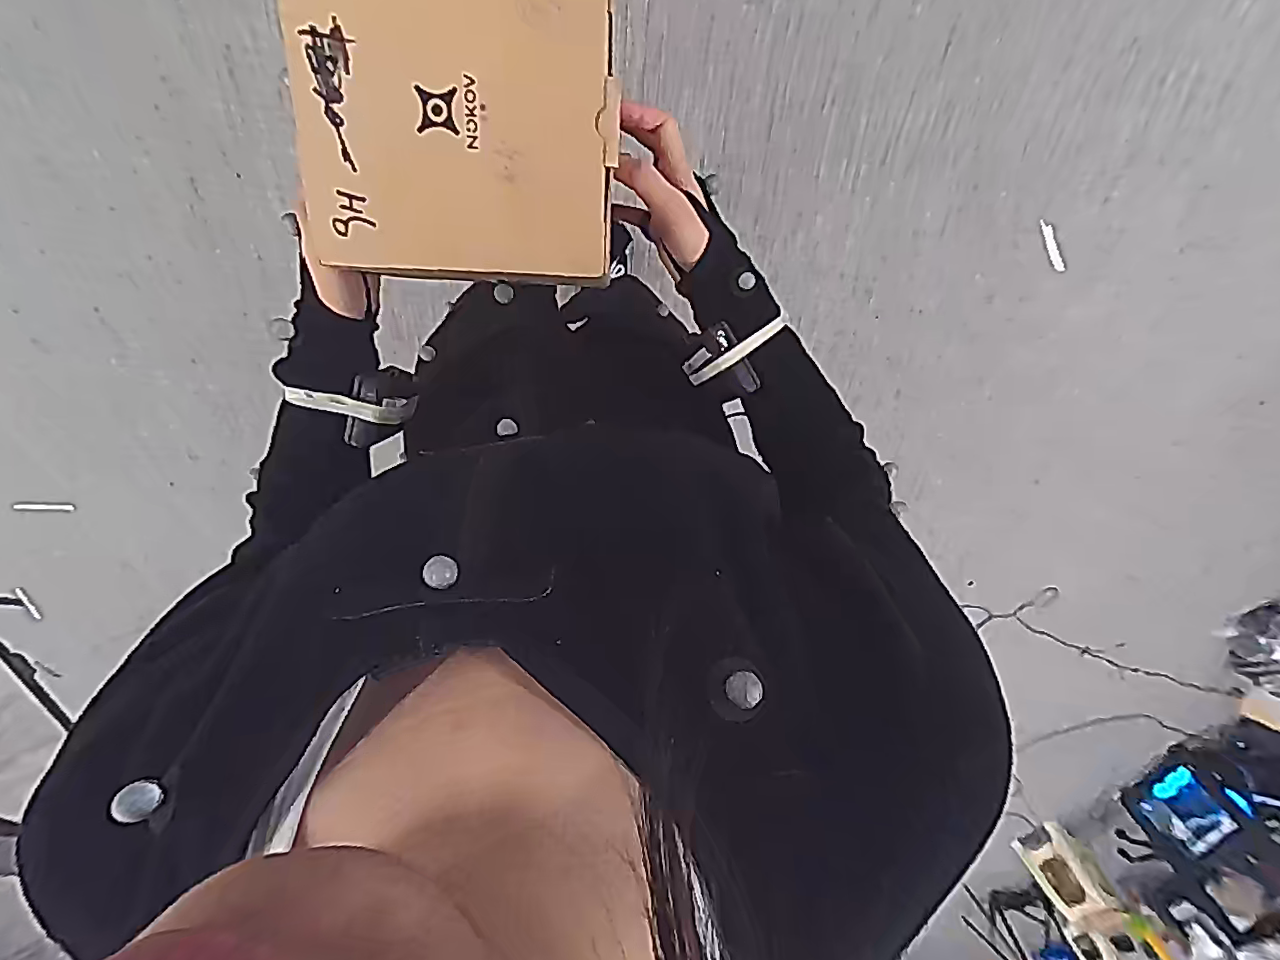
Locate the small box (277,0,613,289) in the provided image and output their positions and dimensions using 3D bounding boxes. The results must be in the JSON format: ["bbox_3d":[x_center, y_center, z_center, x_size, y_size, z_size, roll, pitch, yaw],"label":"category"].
[{"bbox_3d":[-0.111,-0.227,0.379,0.179,0.176,0.168,1,107,-4],"label":"small box"}]
